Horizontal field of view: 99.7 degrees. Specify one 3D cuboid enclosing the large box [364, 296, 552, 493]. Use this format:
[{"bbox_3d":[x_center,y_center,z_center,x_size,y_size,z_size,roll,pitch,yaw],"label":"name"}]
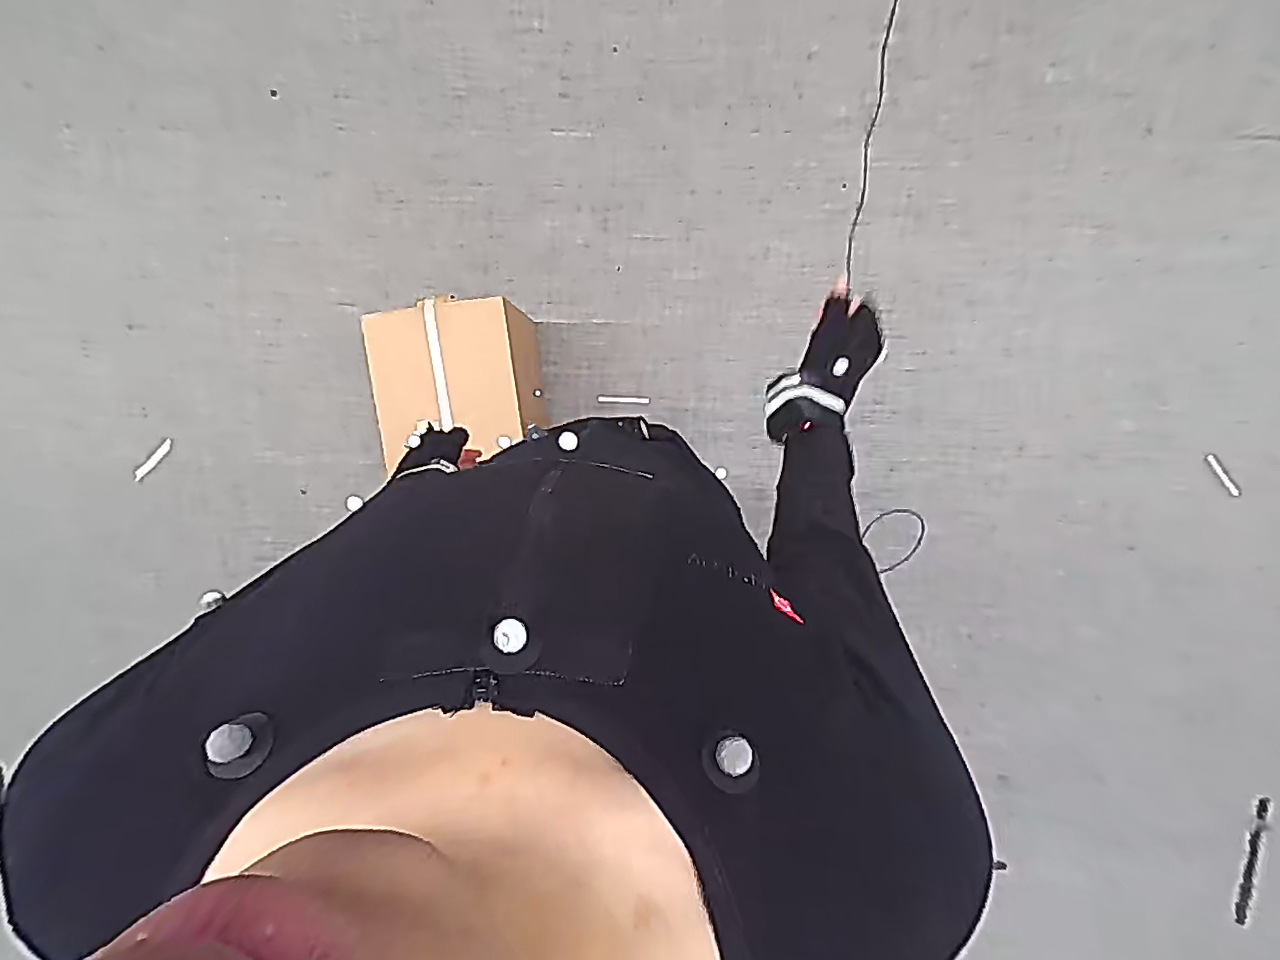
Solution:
[{"bbox_3d":[-0.419,-0.203,1.336,0.320,0.320,0.408,-7,97,3],"label":"large box"}]
